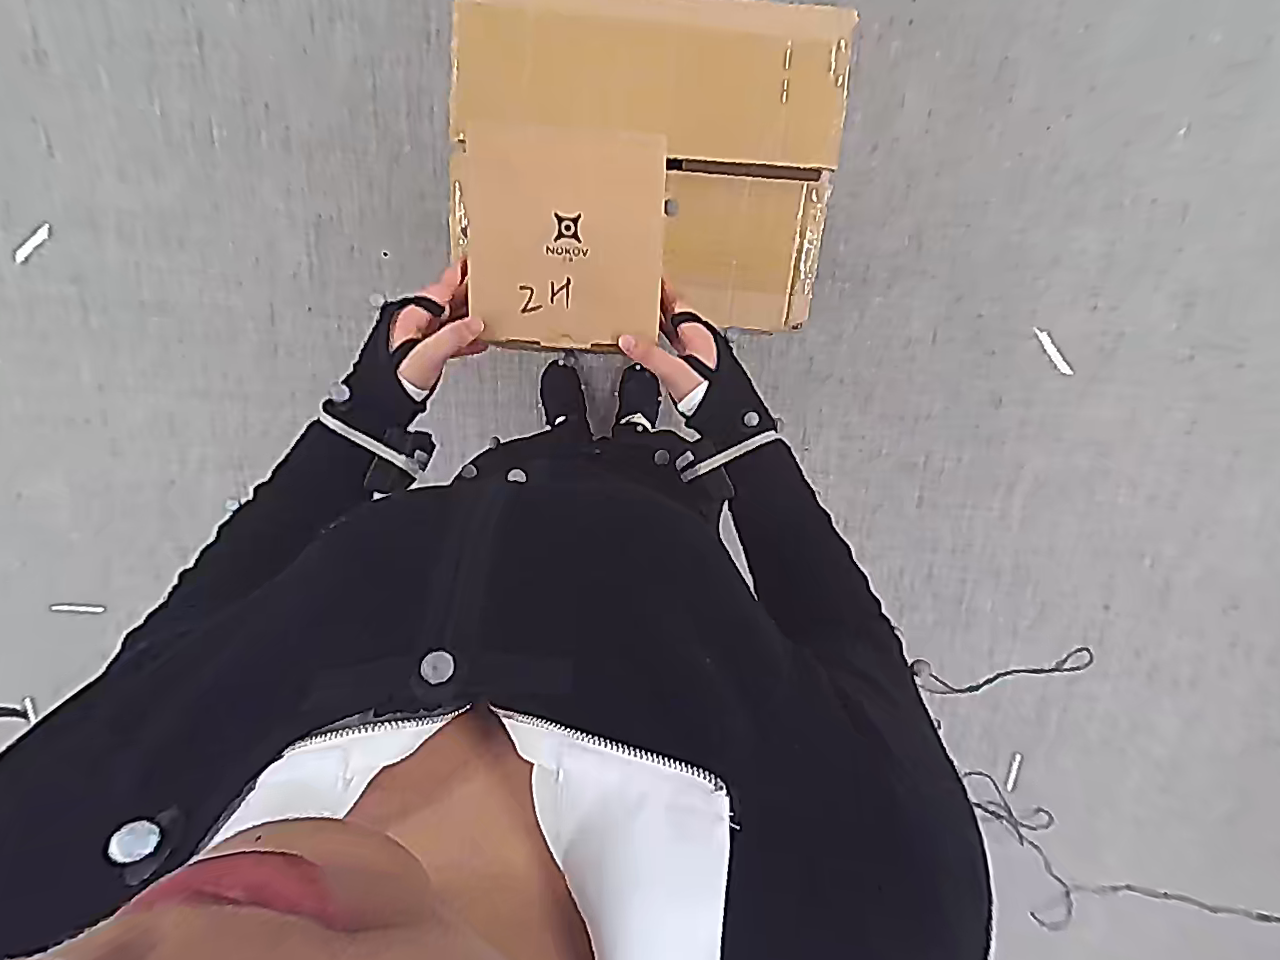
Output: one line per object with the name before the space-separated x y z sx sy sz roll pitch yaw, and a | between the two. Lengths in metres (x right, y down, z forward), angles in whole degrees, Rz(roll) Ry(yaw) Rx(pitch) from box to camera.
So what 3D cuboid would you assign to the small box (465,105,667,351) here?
small box | -0.069 -0.226 0.533 0.168 0.176 0.179 2 100 -4
